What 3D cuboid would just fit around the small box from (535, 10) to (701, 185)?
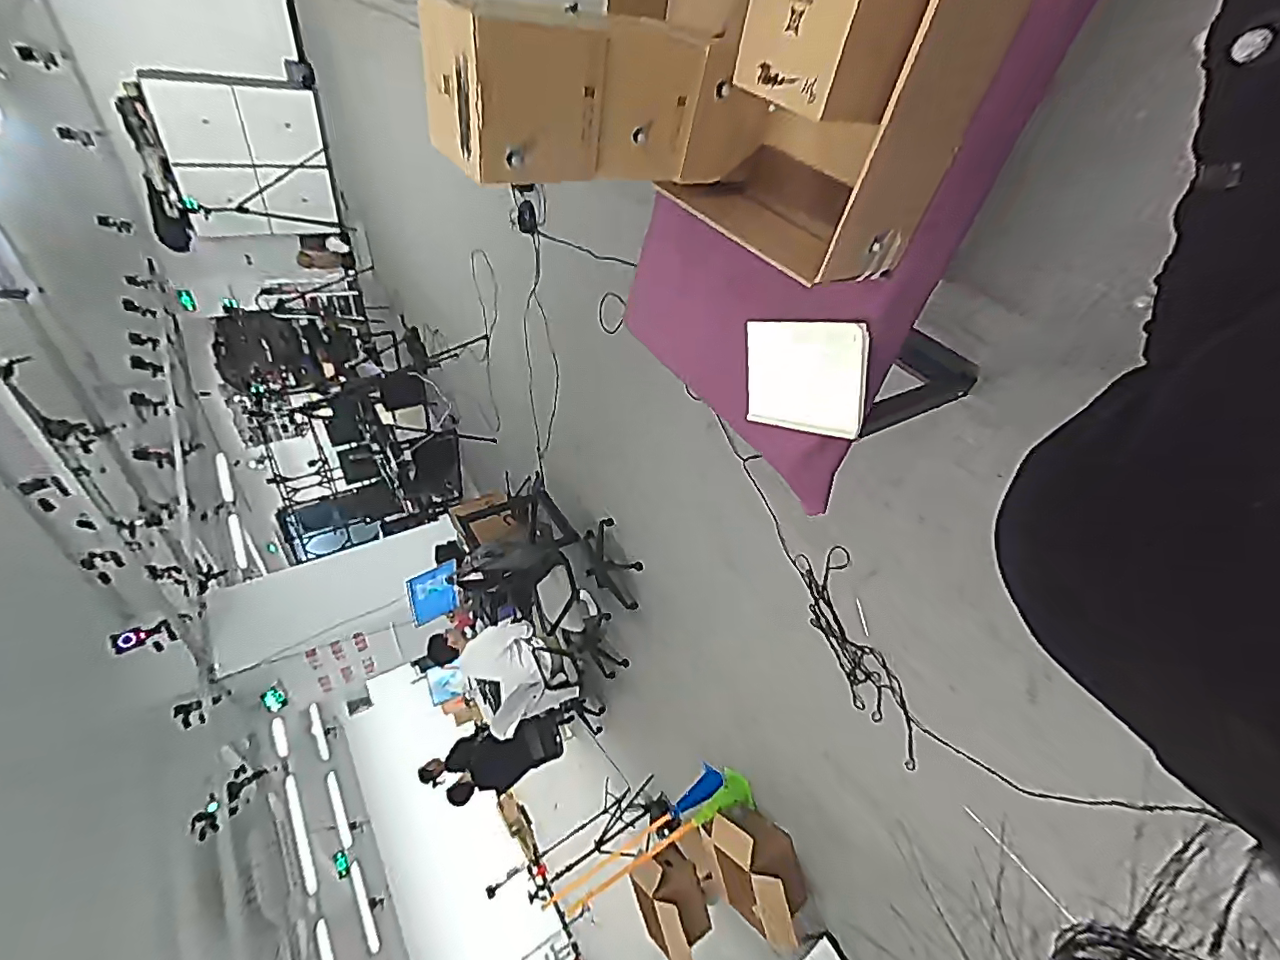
[{"bbox_3d":[-0.036,-0.555,0.791,0.179,0.176,0.168,49,144,30],"label":"small box"}]
